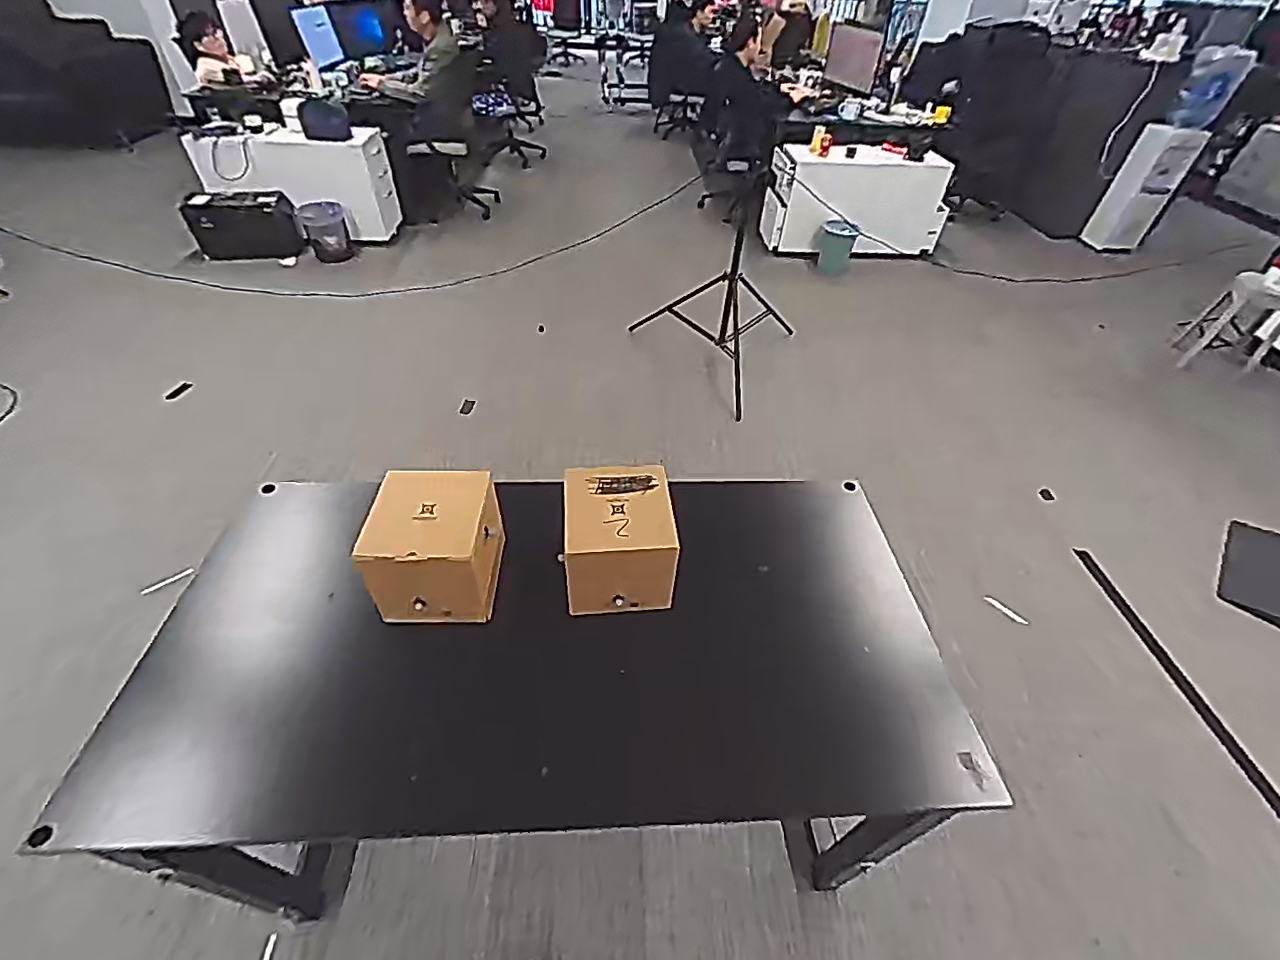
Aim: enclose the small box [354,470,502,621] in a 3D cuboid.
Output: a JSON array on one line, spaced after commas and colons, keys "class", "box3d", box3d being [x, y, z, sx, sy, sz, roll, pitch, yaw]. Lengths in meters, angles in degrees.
[{"class": "small box", "box3d": [-0.322, 0.104, 0.865, 0.168, 0.176, 0.179, 0, 45, -3]}]
